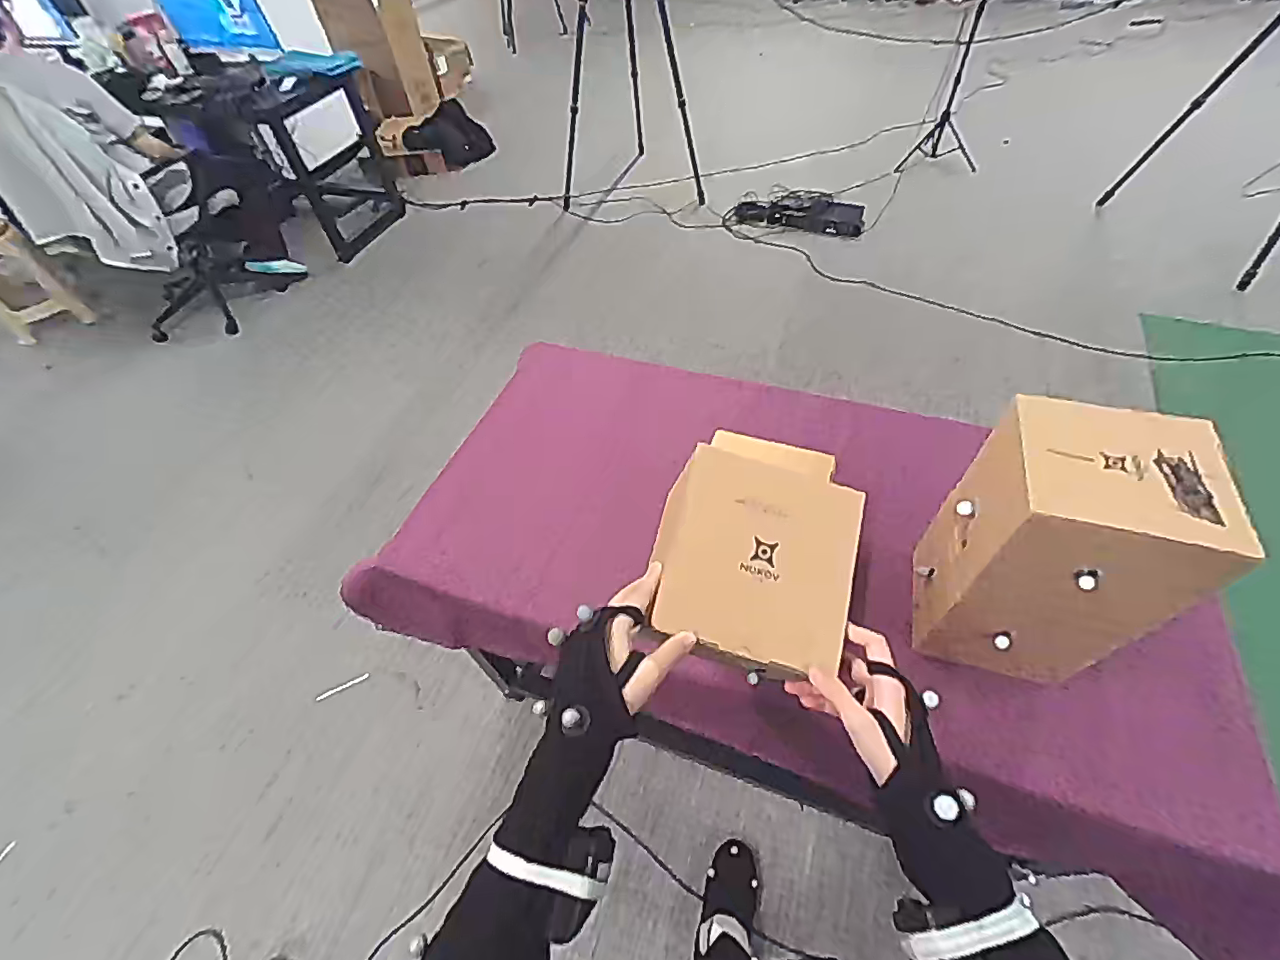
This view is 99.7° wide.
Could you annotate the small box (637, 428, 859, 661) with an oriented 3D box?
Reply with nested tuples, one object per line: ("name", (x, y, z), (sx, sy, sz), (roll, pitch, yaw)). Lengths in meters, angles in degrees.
("small box", (0.098, 0.077, 0.557), (0.168, 0.176, 0.179), (17, 70, 0))

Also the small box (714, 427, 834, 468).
("small box", (0.168, 0.052, 0.800), (0.179, 0.176, 0.168), (15, 54, 15))

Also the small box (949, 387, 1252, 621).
("small box", (0.457, 0.030, 0.575), (0.179, 0.176, 0.168), (13, 53, 15))
